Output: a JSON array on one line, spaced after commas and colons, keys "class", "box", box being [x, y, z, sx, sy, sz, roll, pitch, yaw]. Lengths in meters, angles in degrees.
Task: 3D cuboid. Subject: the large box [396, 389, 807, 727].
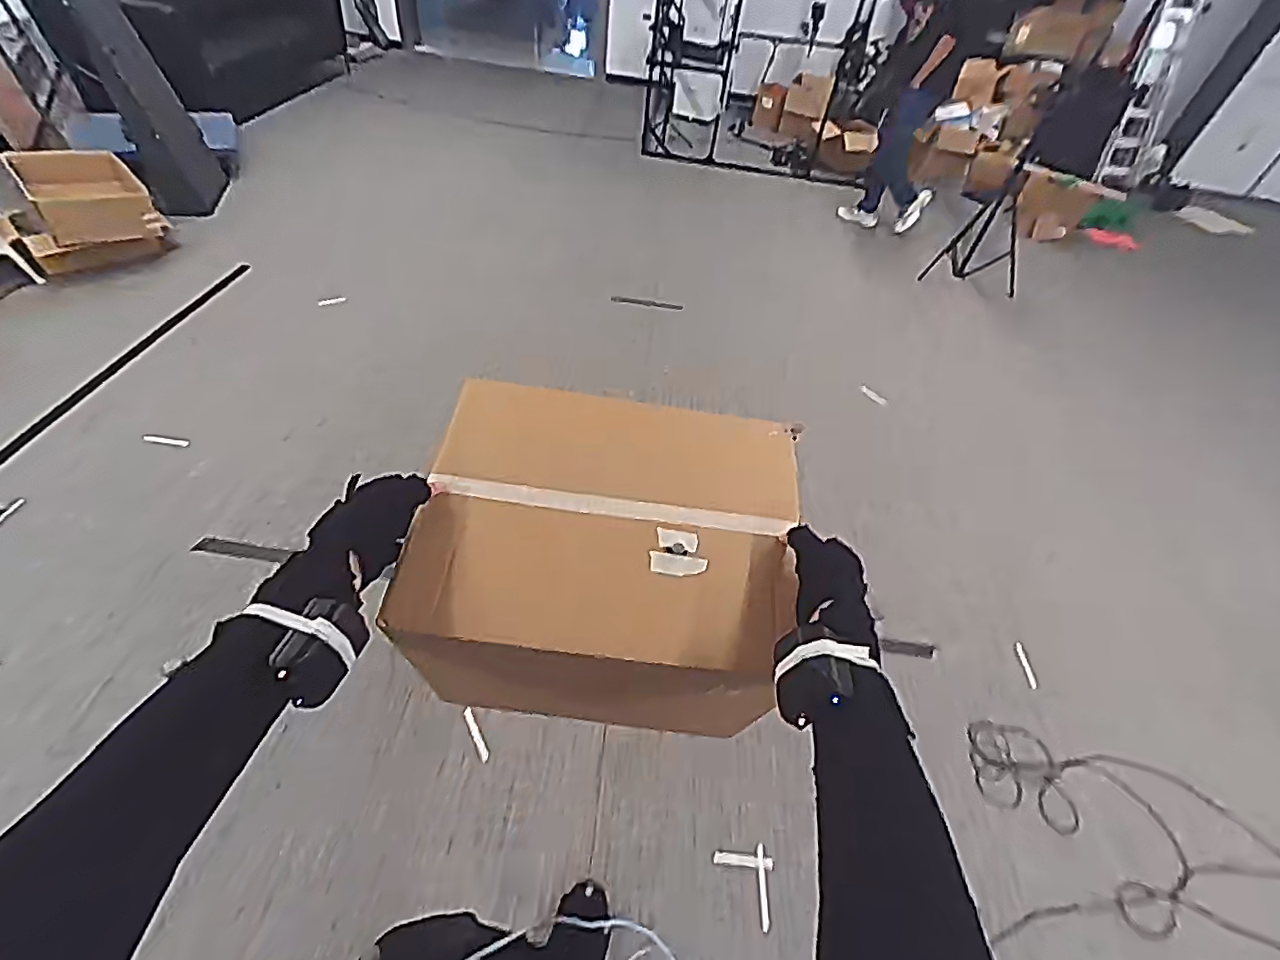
[{"class": "large box", "box": [-0.042, 0.118, 0.718, 0.408, 0.320, 0.320, 8, 56, -3]}]
